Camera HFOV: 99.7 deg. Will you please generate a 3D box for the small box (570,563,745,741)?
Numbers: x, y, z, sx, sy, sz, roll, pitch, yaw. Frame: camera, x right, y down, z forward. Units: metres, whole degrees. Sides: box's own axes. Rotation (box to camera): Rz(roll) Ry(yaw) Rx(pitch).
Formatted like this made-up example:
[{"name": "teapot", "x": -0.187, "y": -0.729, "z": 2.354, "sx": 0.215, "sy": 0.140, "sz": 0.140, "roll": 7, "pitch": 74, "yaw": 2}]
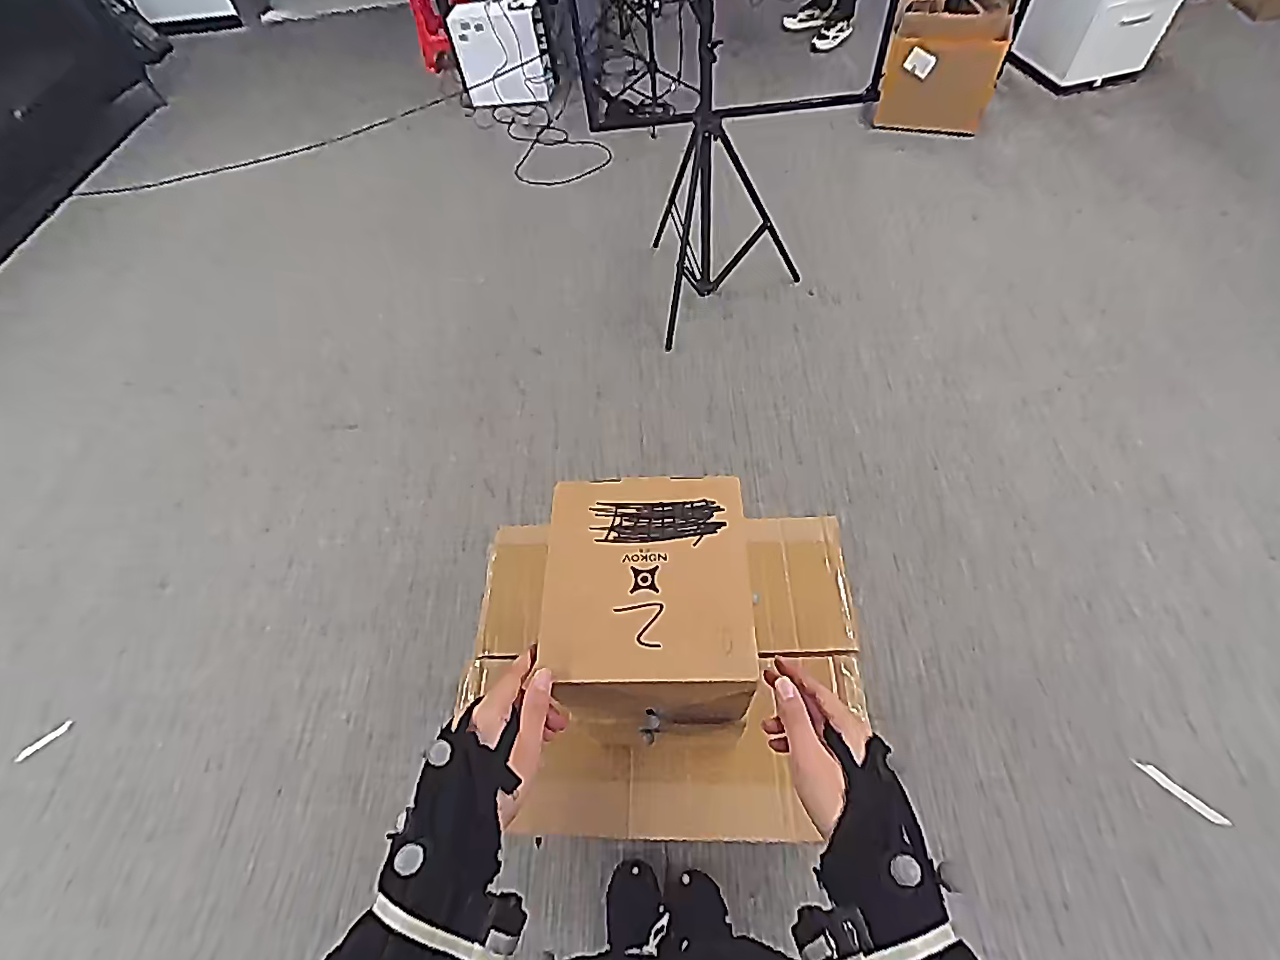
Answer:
[{"name": "small box", "x": 0.026, "y": 0.207, "z": 0.636, "sx": 0.179, "sy": 0.176, "sz": 0.168, "roll": -2, "pitch": 57, "yaw": 5}]
